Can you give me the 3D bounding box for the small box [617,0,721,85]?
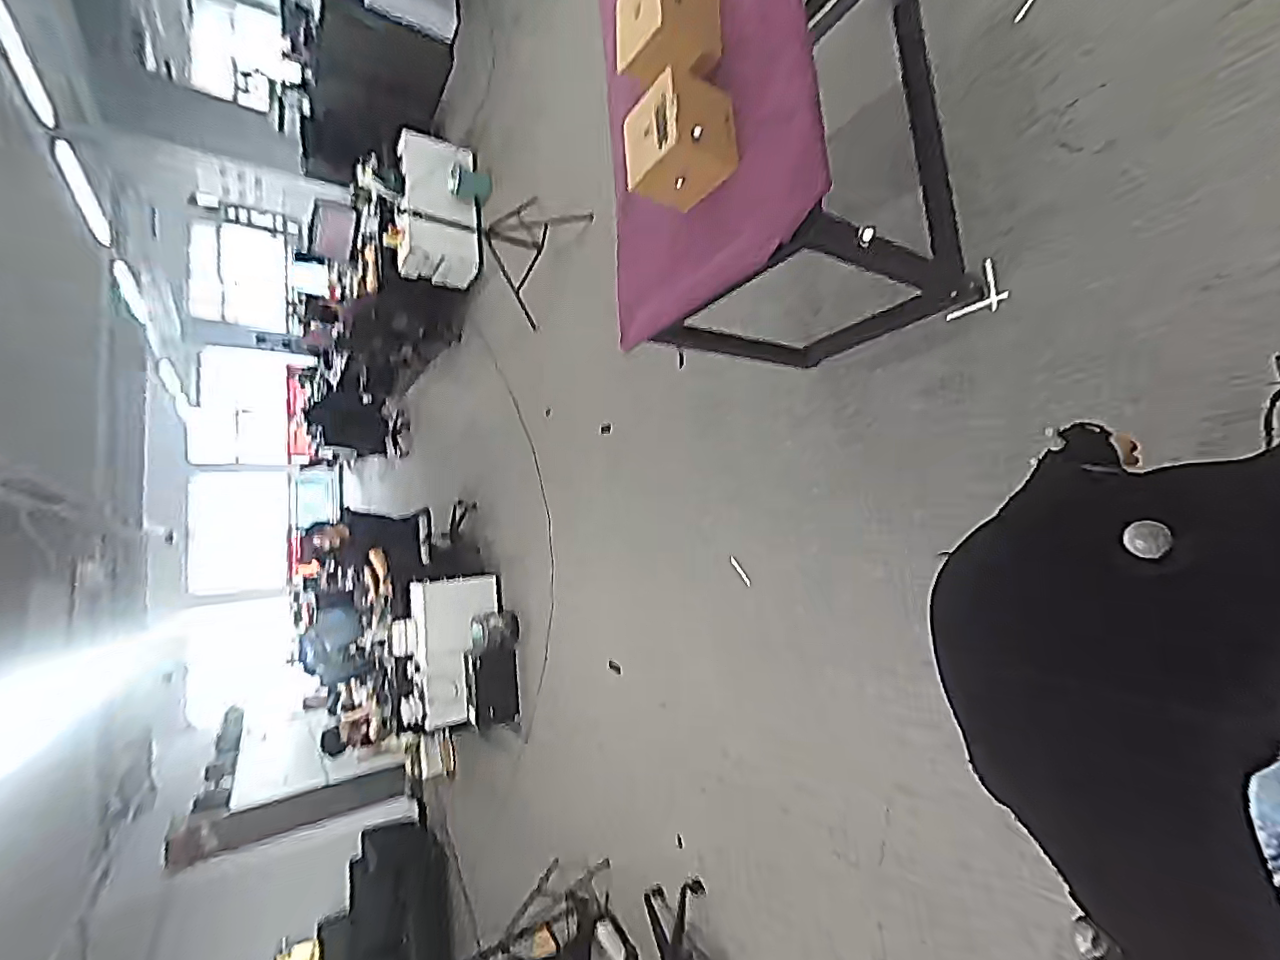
[{"bbox_3d":[0.064,-1.009,1.179,0.168,0.176,0.179,0,90,55],"label":"small box"}]
